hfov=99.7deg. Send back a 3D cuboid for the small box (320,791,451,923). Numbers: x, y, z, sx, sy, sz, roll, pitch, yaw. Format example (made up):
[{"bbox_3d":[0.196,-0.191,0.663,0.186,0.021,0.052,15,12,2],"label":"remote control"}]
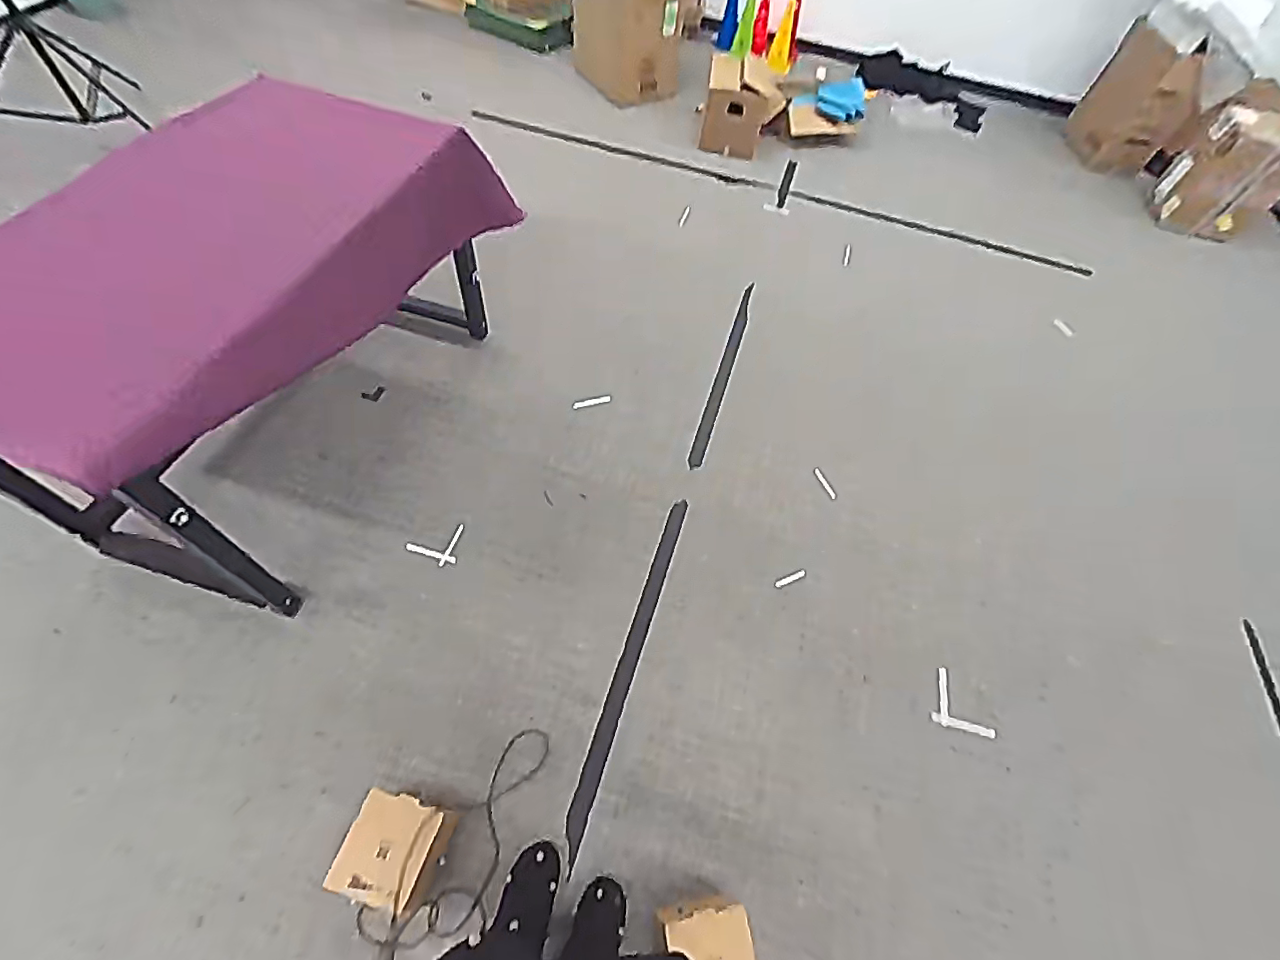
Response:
[{"bbox_3d":[-0.509,0.772,1.116,0.168,0.176,0.179,17,55,5],"label":"small box"}]

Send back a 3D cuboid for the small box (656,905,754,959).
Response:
[{"bbox_3d":[0.132,0.968,1.070,0.168,0.176,0.179,-7,59,-9],"label":"small box"}]
